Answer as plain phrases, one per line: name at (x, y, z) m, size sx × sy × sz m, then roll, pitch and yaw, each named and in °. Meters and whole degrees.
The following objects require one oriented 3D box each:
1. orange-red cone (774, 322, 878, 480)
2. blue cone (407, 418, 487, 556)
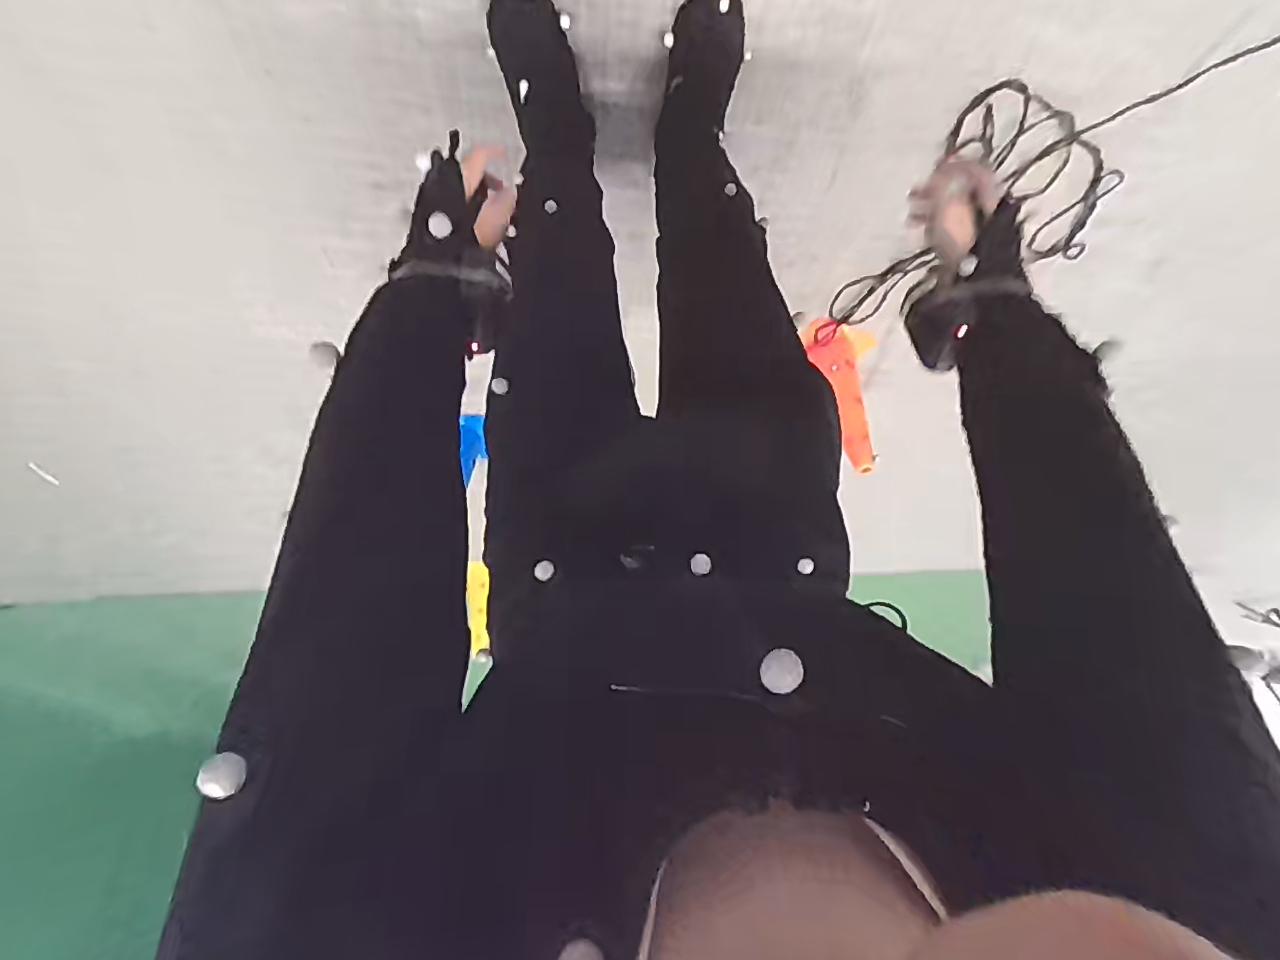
orange-red cone at (0.472, -0.158, 1.245) m, size 0.199 × 0.360 × 0.198 m, roll 11°, pitch 144°, yaw -23°
blue cone at (-0.525, 0.023, 1.421) m, size 0.192 × 0.380 × 0.193 m, roll 0°, pitch 145°, yaw -6°
